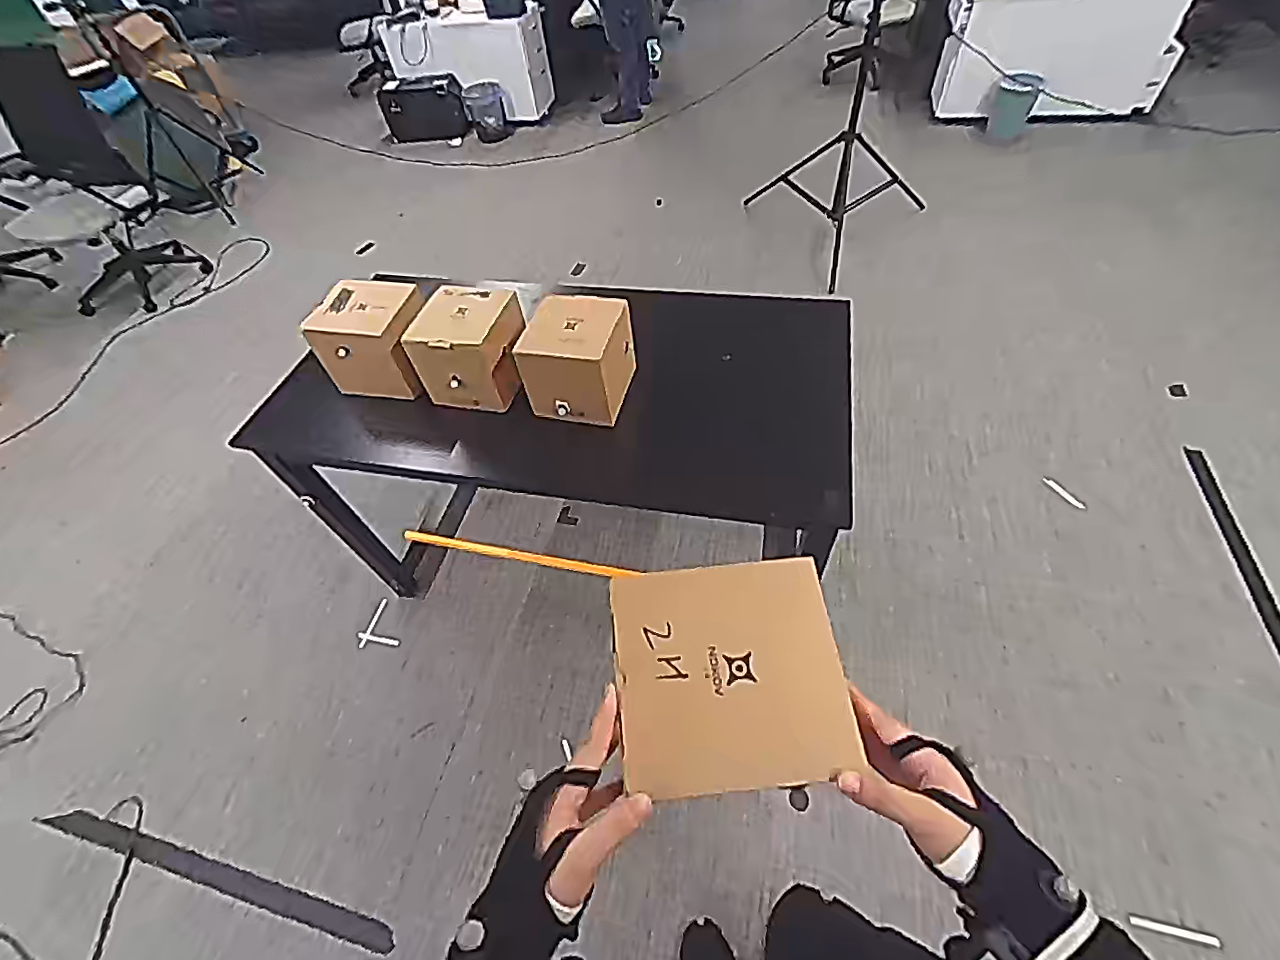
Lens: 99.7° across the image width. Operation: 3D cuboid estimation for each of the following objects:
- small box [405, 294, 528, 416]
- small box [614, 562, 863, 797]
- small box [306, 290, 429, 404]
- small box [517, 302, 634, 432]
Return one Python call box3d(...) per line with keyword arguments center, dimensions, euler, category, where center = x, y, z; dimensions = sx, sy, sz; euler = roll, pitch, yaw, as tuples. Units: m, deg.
box3d(center=(-0.331, -0.250, 1.093), dimensions=(0.168, 0.176, 0.179), euler=(8, 54, 13), category="small box")
box3d(center=(0.071, 0.186, 0.496), dimensions=(0.179, 0.176, 0.168), euler=(-6, 61, -1), category="small box")
box3d(center=(-0.540, -0.277, 1.136), dimensions=(0.179, 0.176, 0.168), euler=(6, 53, 10), category="small box")
box3d(center=(-0.113, -0.218, 1.045), dimensions=(0.168, 0.176, 0.179), euler=(7, 54, 14), category="small box")
